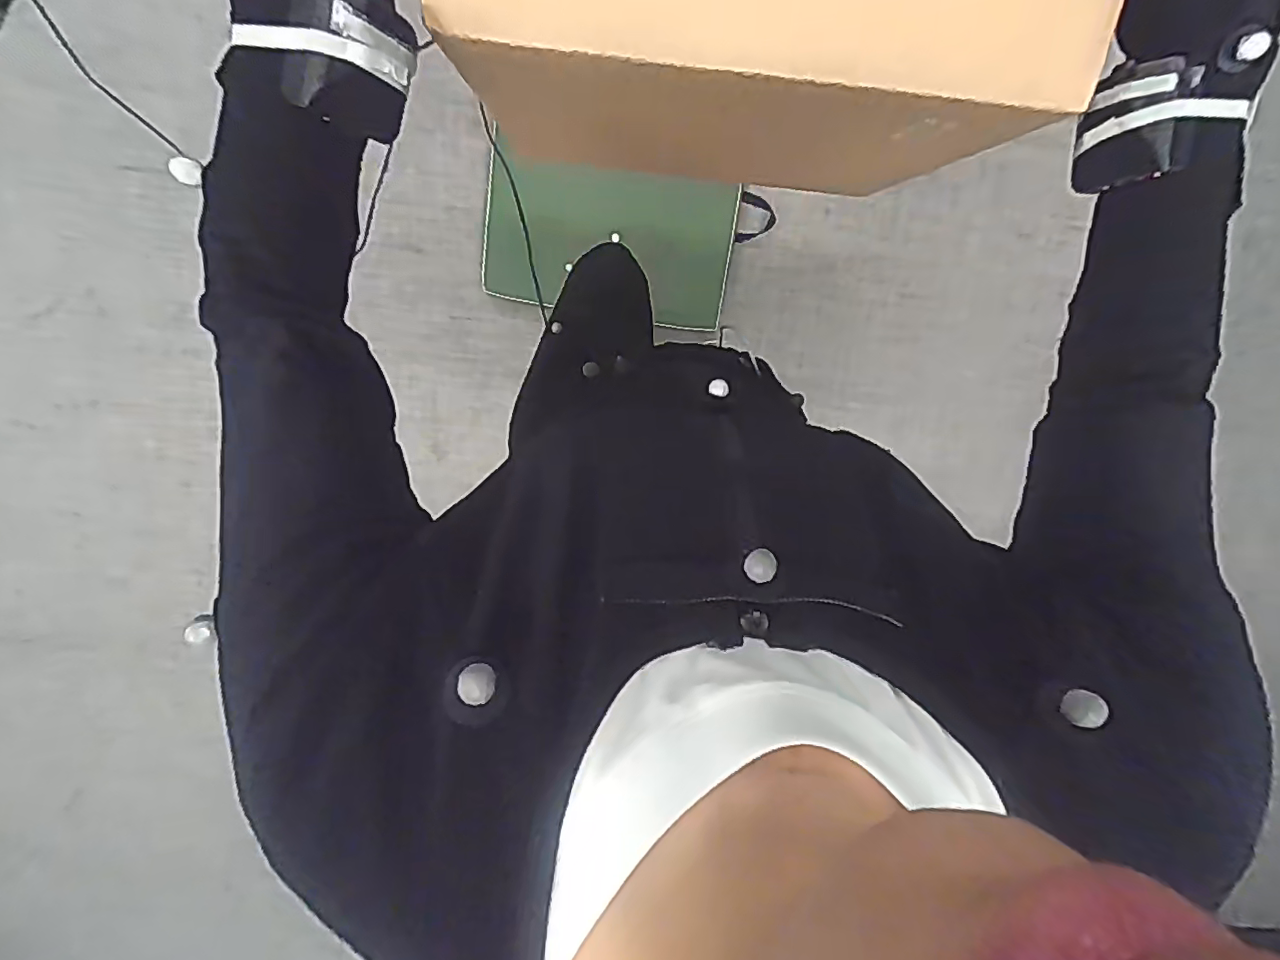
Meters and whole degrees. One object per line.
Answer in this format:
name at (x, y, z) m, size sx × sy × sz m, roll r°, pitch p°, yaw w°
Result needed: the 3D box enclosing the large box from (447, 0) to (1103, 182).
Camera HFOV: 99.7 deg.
large box at (0.084, -0.448, 0.423) m, size 0.408 × 0.320 × 0.320 m, roll 4°, pitch 109°, yaw -5°
